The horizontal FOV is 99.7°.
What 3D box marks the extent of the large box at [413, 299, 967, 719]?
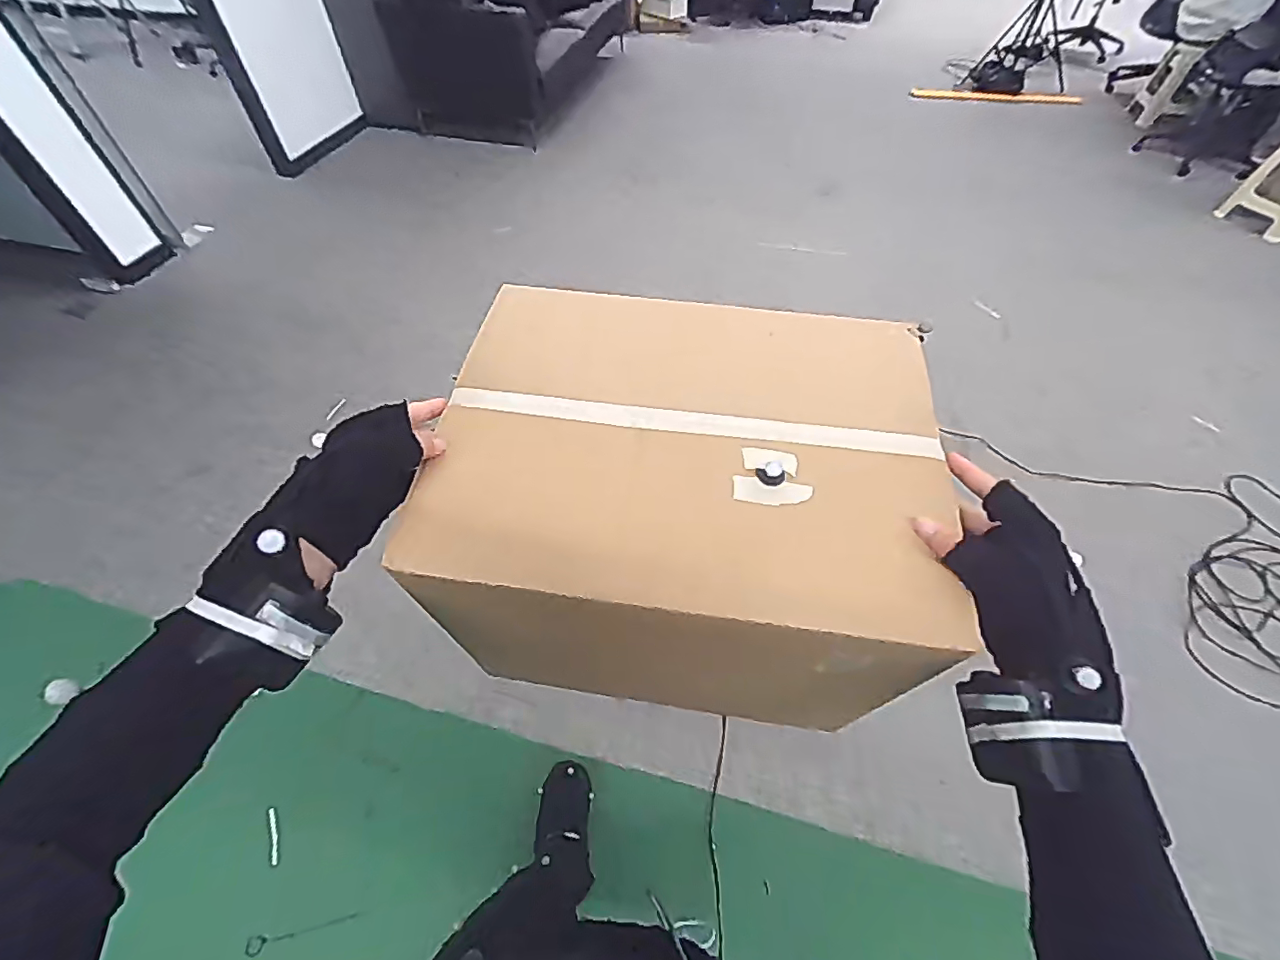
[{"bbox_3d":[0.044,0.043,0.585,0.408,0.320,0.320,7,57,4],"label":"large box"}]
